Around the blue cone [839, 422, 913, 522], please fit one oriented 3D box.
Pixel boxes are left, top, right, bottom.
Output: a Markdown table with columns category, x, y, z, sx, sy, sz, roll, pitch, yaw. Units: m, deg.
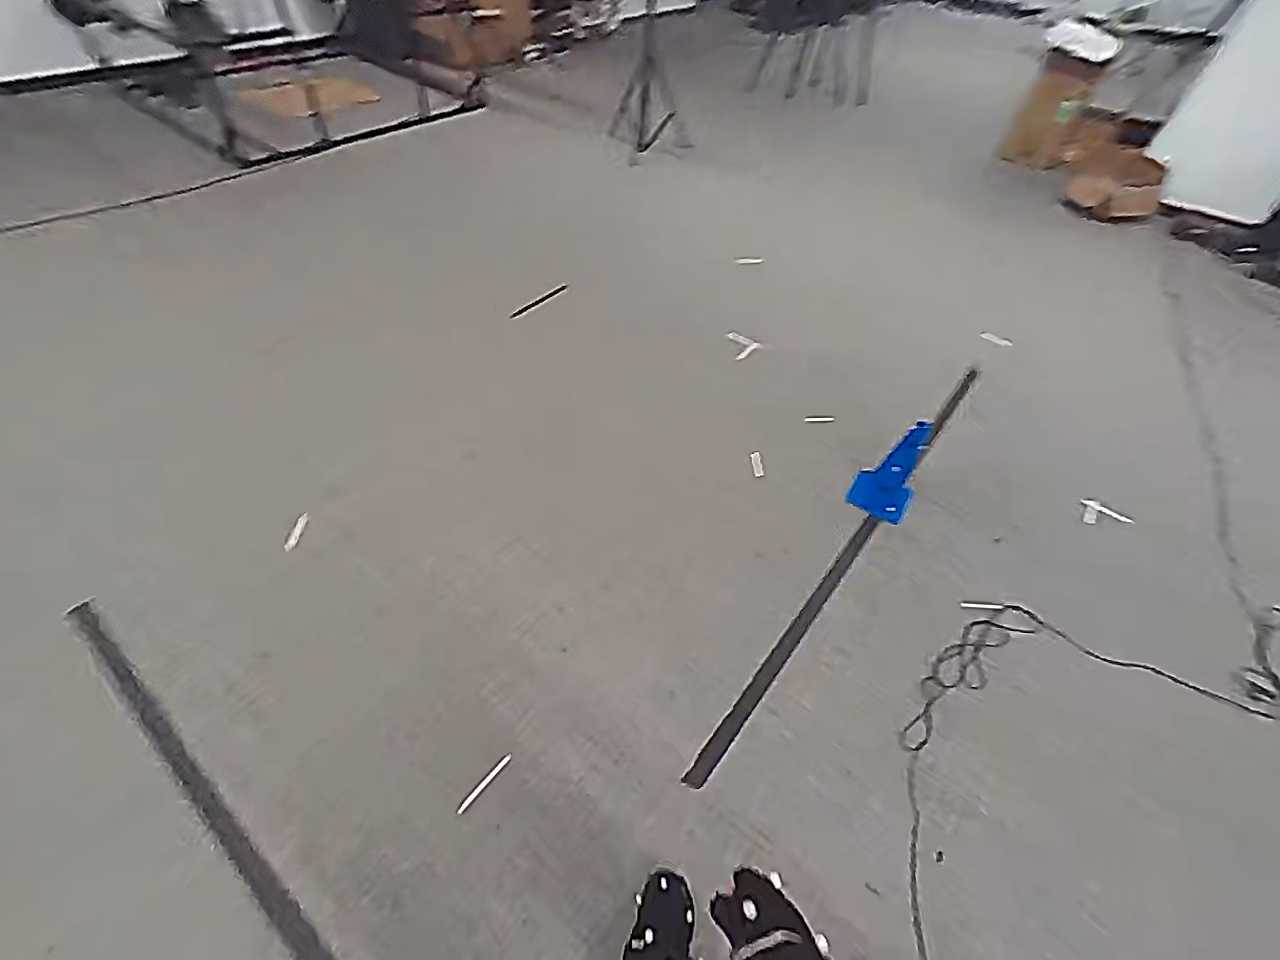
| category | x | y | z | sx | sy | sz | roll | pitch | yaw |
| --- | --- | --- | --- | --- | --- | --- | --- | --- | --- |
| blue cone | 0.854 | -0.045 | 1.860 | 0.192 | 0.380 | 0.193 | 30 | 52 | 21 |
